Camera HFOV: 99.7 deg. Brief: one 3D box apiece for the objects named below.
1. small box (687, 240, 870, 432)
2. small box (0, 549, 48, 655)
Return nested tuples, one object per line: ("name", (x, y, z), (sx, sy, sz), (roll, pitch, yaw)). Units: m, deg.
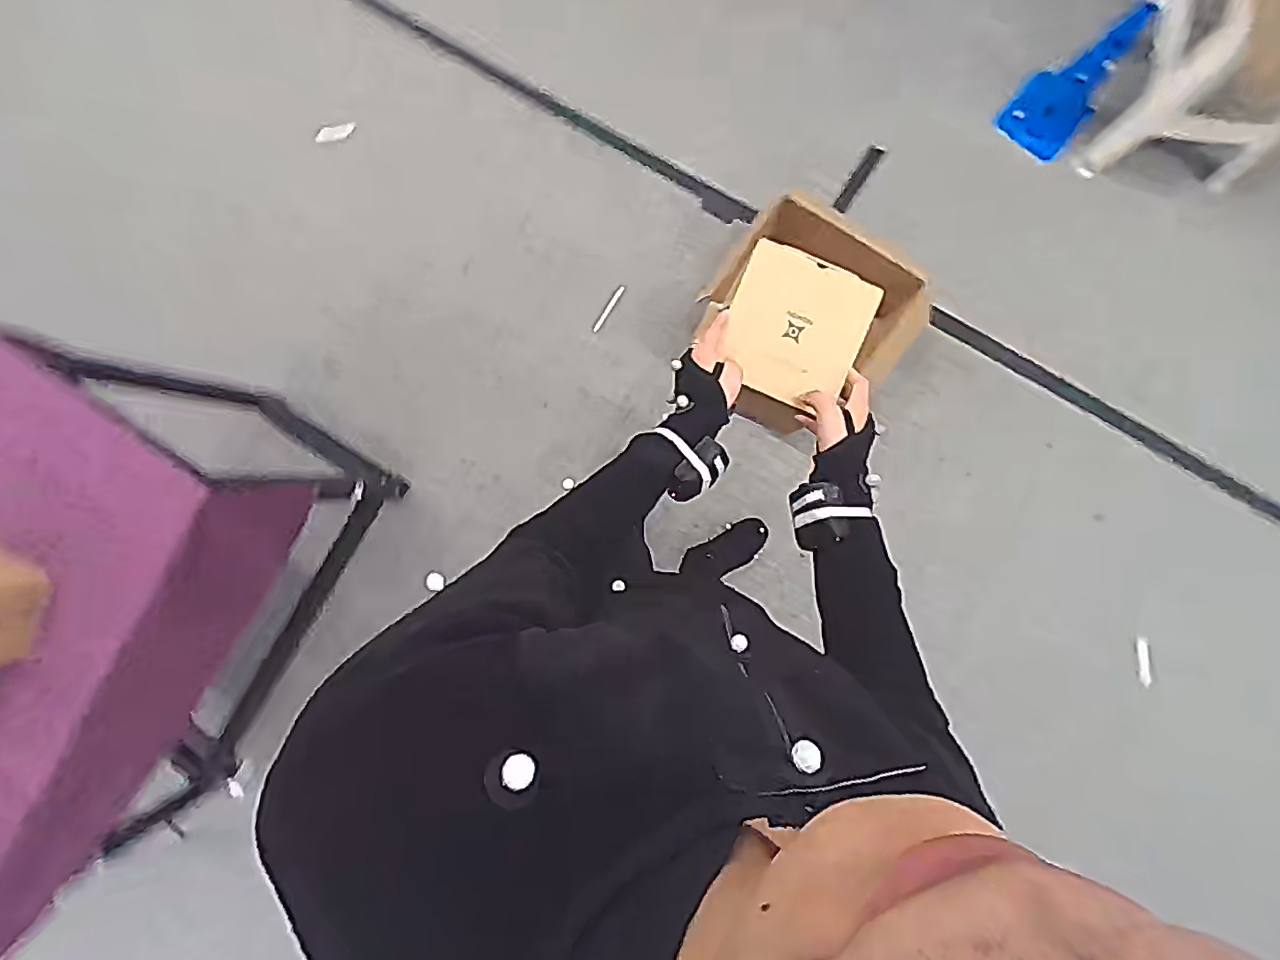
("small box", (0.175, -0.182, 0.740), (0.168, 0.176, 0.179), (23, 87, -2))
("small box", (-1.235, 0.224, 0.961), (0.179, 0.176, 0.168), (24, 92, 6))
